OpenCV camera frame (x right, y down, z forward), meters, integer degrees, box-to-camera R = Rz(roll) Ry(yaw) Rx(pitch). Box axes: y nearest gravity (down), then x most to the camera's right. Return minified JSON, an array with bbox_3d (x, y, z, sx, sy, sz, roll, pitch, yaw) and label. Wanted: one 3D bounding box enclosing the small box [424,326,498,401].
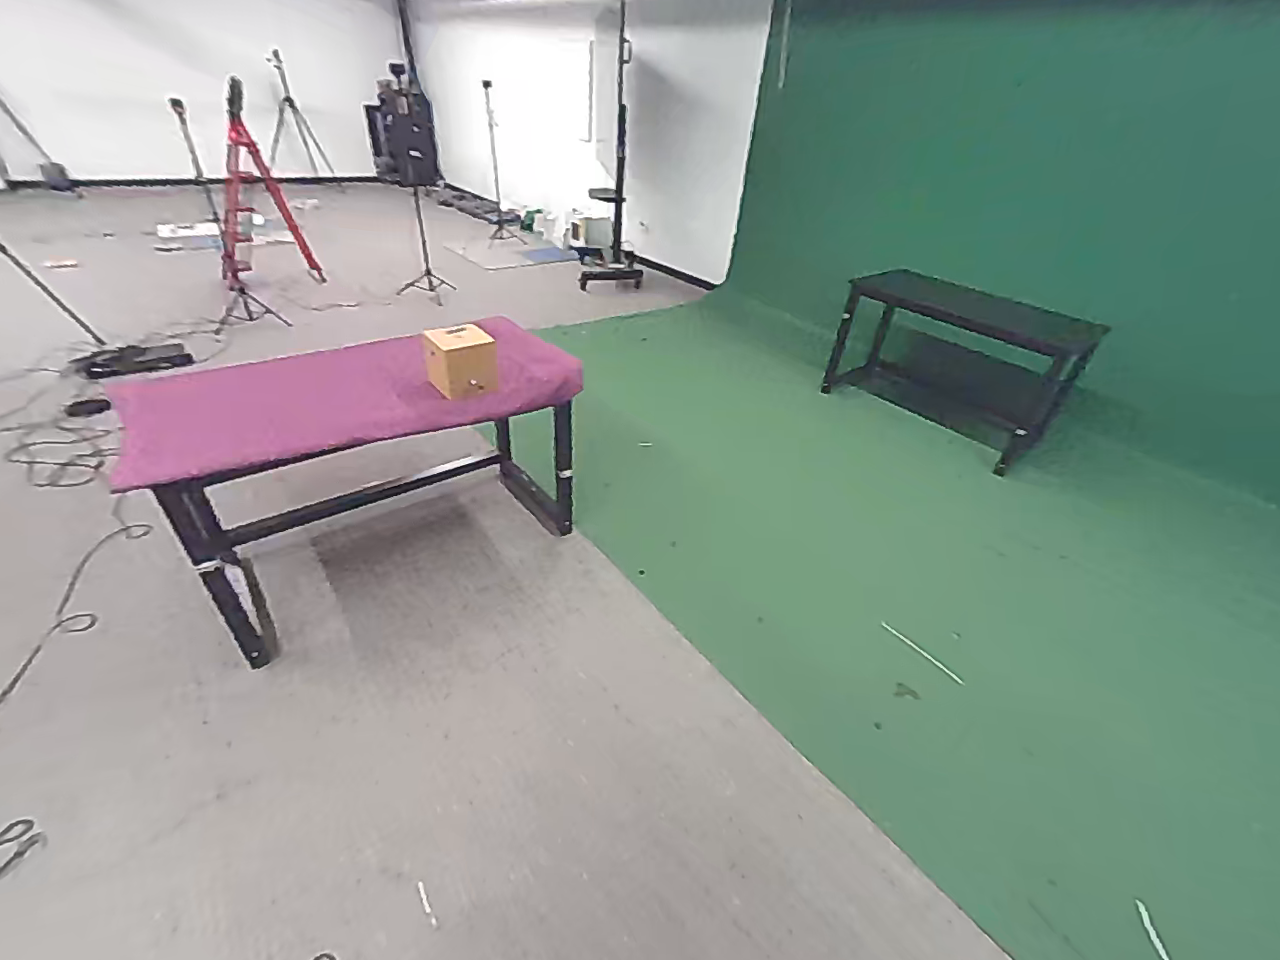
[{"bbox_3d":[-0.564,-0.369,1.712,0.168,0.176,0.179,-22,43,-33],"label":"small box"}]
